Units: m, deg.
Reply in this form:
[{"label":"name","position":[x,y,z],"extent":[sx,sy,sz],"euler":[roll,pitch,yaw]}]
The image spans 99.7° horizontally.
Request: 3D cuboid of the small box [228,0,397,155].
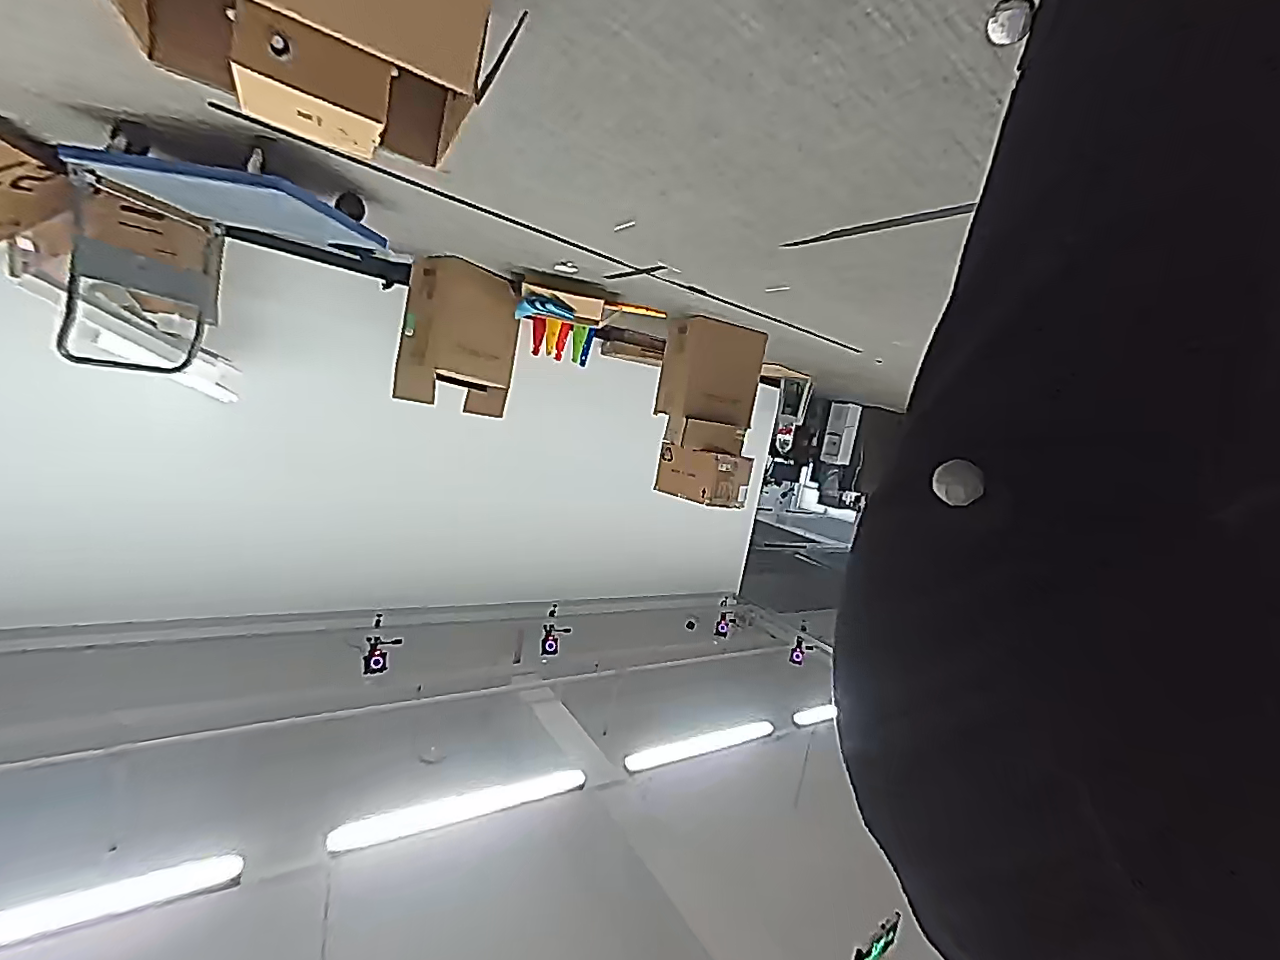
[{"label":"small box","position":[-0.456,-0.602,0.759],"extent":[0.179,0.176,0.168],"euler":[6,-171,-34]}]
